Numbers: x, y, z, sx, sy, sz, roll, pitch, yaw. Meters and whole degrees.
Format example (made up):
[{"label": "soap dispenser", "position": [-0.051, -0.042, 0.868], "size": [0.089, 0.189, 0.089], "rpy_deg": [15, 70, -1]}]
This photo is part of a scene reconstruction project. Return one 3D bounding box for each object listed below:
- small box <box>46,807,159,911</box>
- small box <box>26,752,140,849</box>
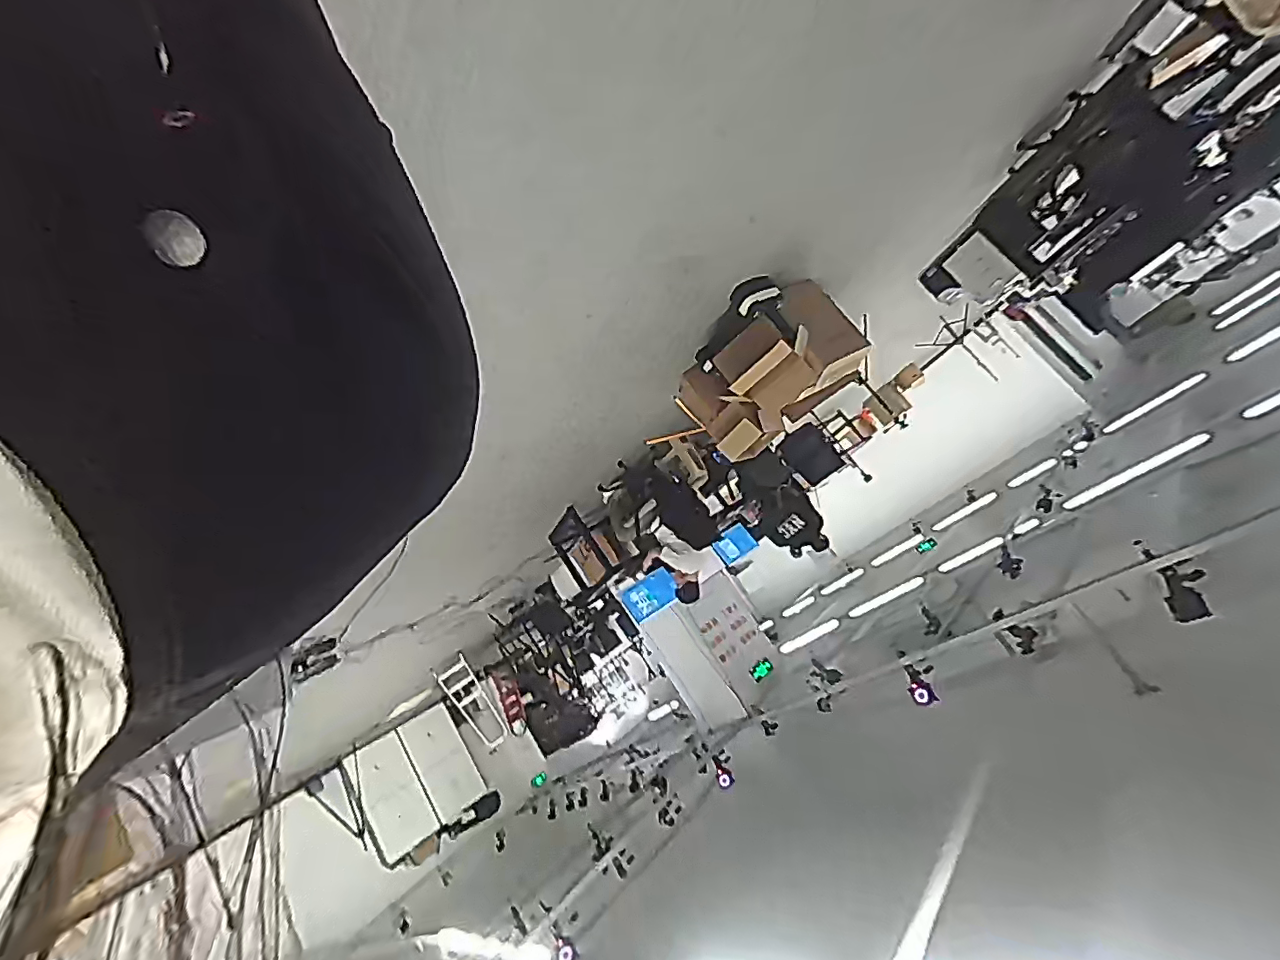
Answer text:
[{"label": "small box", "position": [-1.460, 1.026, 1.474], "size": [0.168, 0.176, 0.179], "rpy_deg": [-24, 160, -41]}, {"label": "small box", "position": [-1.551, 0.895, 1.512], "size": [0.179, 0.176, 0.168], "rpy_deg": [-21, 159, -42]}]
